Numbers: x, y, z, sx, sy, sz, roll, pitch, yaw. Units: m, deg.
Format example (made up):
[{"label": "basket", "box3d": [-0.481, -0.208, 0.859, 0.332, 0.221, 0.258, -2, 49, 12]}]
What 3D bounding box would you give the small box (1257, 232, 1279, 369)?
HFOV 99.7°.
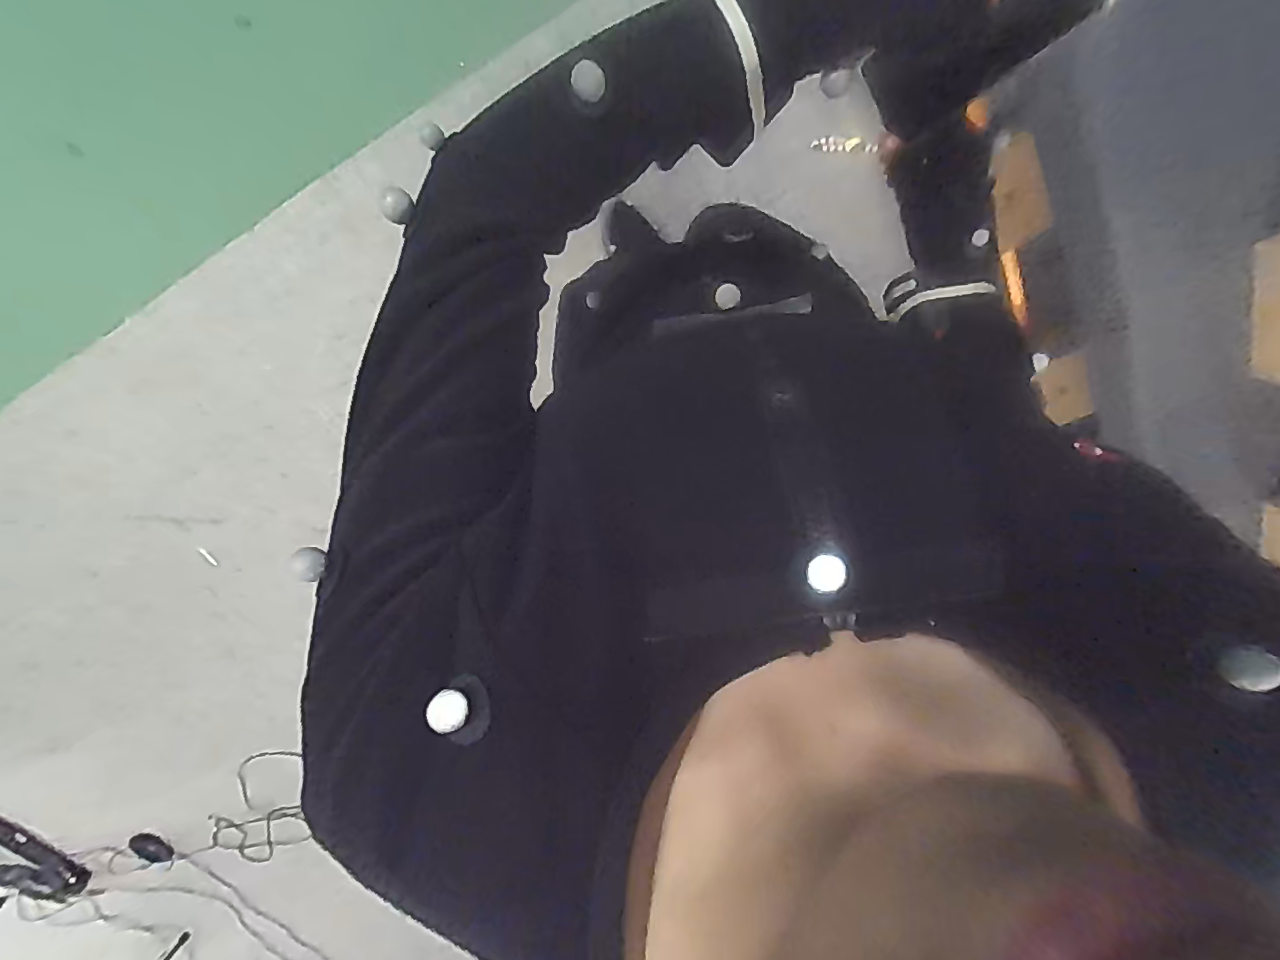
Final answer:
[{"label": "small box", "box3d": [0.814, -0.203, 0.562, 0.168, 0.176, 0.179, -23, 114, 11]}]
